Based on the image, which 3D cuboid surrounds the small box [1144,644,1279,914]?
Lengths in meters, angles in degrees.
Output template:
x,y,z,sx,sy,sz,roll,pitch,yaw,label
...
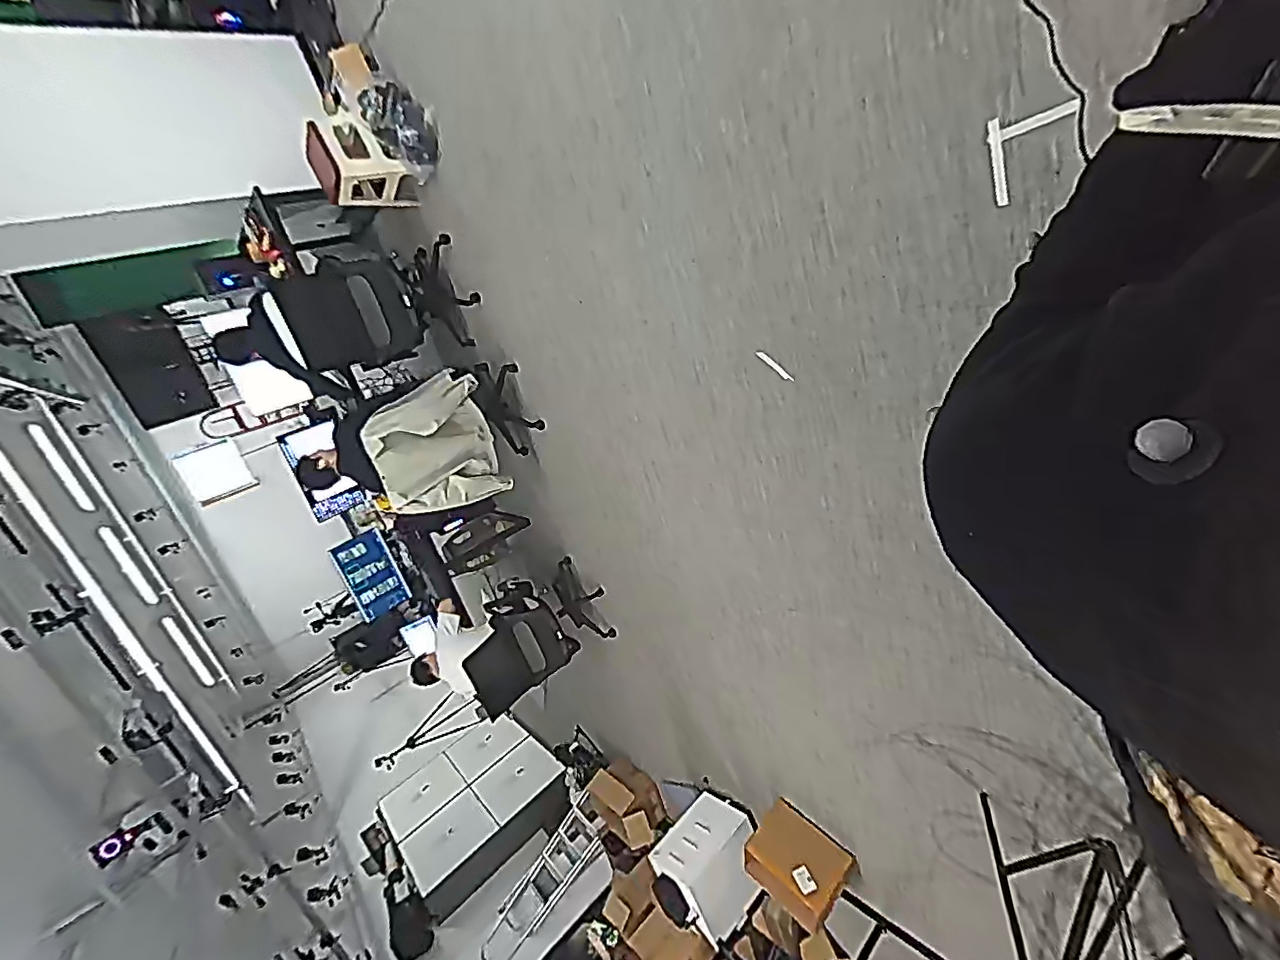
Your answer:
x,y,z,sx,sy,sz,roll,pitch,yaw,label
0.629,0.295,0.533,0.168,0.176,0.179,9,122,50,small box
